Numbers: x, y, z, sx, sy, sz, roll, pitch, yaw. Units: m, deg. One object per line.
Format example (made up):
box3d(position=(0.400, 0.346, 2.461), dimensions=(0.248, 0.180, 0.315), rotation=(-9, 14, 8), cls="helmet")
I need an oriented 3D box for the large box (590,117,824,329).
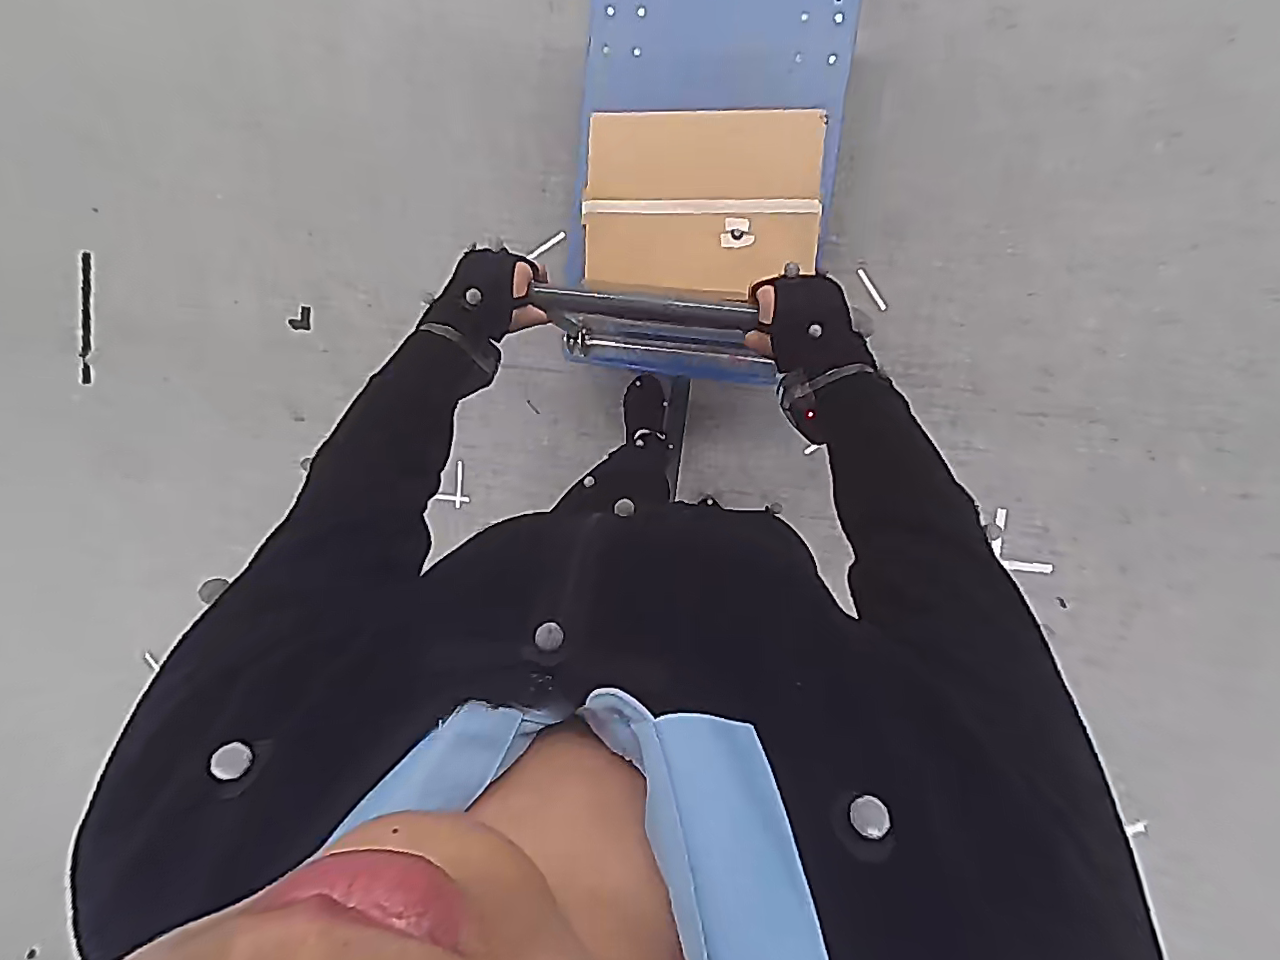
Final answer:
box3d(position=(0.124, -0.488, 1.096), dimensions=(0.408, 0.320, 0.320), rotation=(3, 98, 6), cls="large box")
